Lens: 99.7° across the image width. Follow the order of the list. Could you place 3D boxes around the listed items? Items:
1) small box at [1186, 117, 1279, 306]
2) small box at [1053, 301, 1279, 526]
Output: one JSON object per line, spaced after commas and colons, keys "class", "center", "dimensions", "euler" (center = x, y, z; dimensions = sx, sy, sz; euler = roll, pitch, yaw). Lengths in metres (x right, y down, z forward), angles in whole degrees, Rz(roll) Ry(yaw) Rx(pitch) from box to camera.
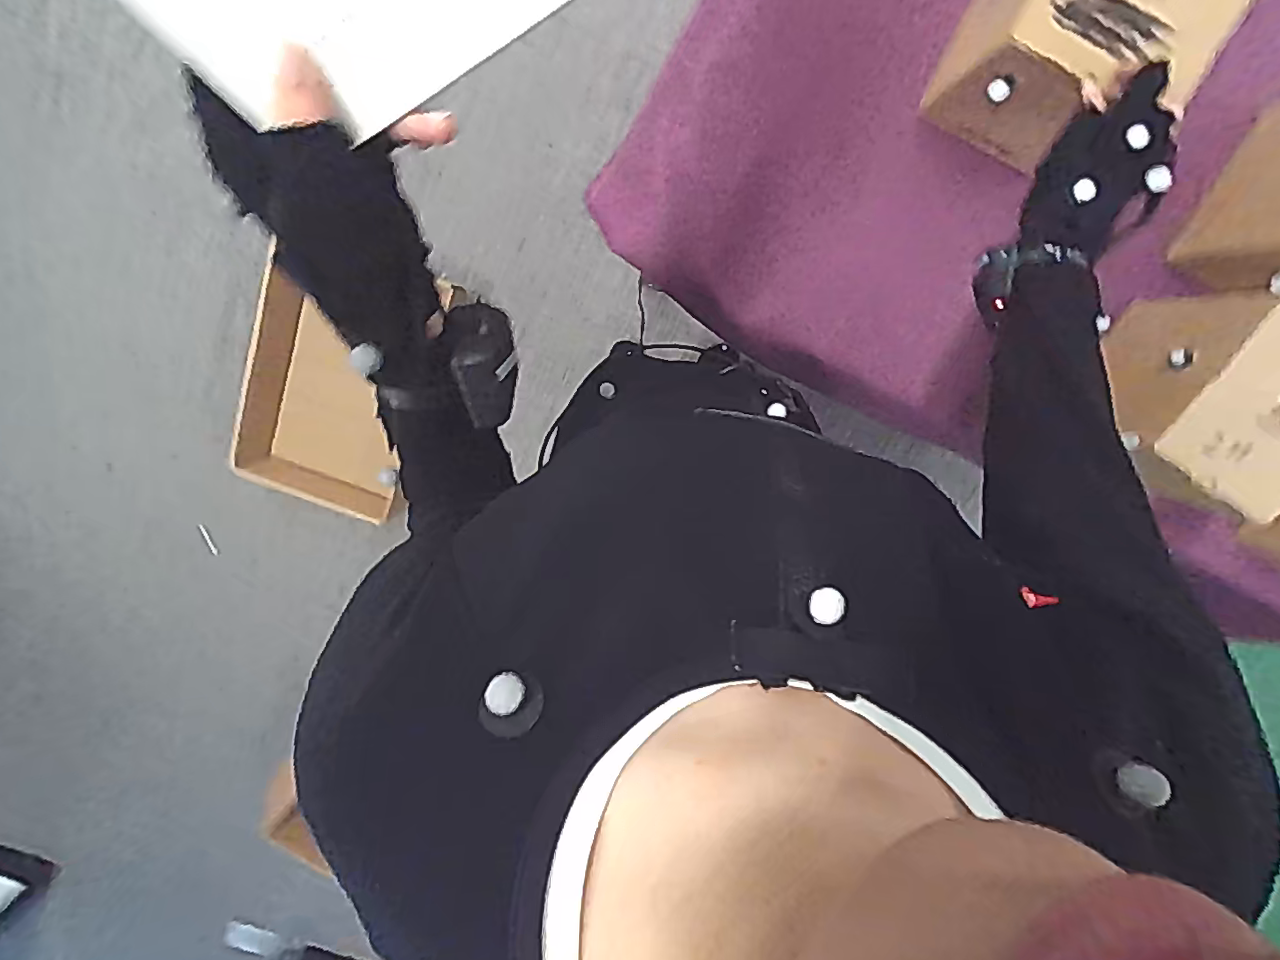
{"class": "small box", "center": [0.739, -0.278, 0.555], "dimensions": [0.168, 0.176, 0.179], "euler": [25, 104, -6]}
{"class": "small box", "center": [0.632, -0.084, 0.610], "dimensions": [0.168, 0.176, 0.179], "euler": [31, 104, -7]}
